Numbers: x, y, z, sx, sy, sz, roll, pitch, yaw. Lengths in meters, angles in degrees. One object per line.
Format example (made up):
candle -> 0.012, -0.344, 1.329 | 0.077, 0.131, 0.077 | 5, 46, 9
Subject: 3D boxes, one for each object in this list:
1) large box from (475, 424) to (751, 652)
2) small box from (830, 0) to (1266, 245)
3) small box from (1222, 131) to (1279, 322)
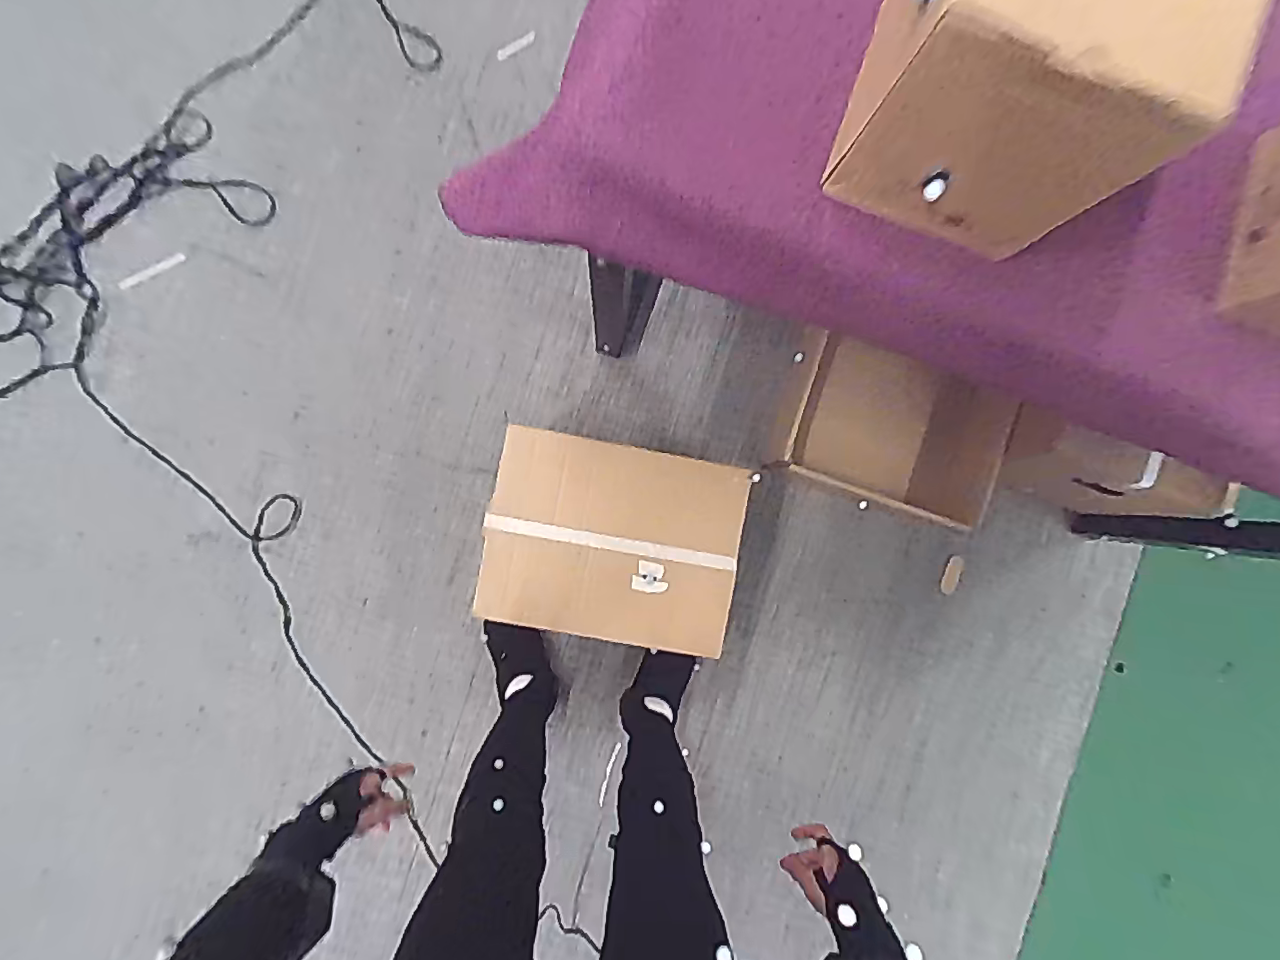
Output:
large box -> -0.051, 0.098, 1.003 | 0.408, 0.320, 0.320 | 11, 88, -4
small box -> 0.252, -0.297, 0.361 | 0.168, 0.176, 0.179 | 19, 88, -3
small box -> 0.591, -0.199, 0.376 | 0.179, 0.176, 0.168 | 18, 87, -2
